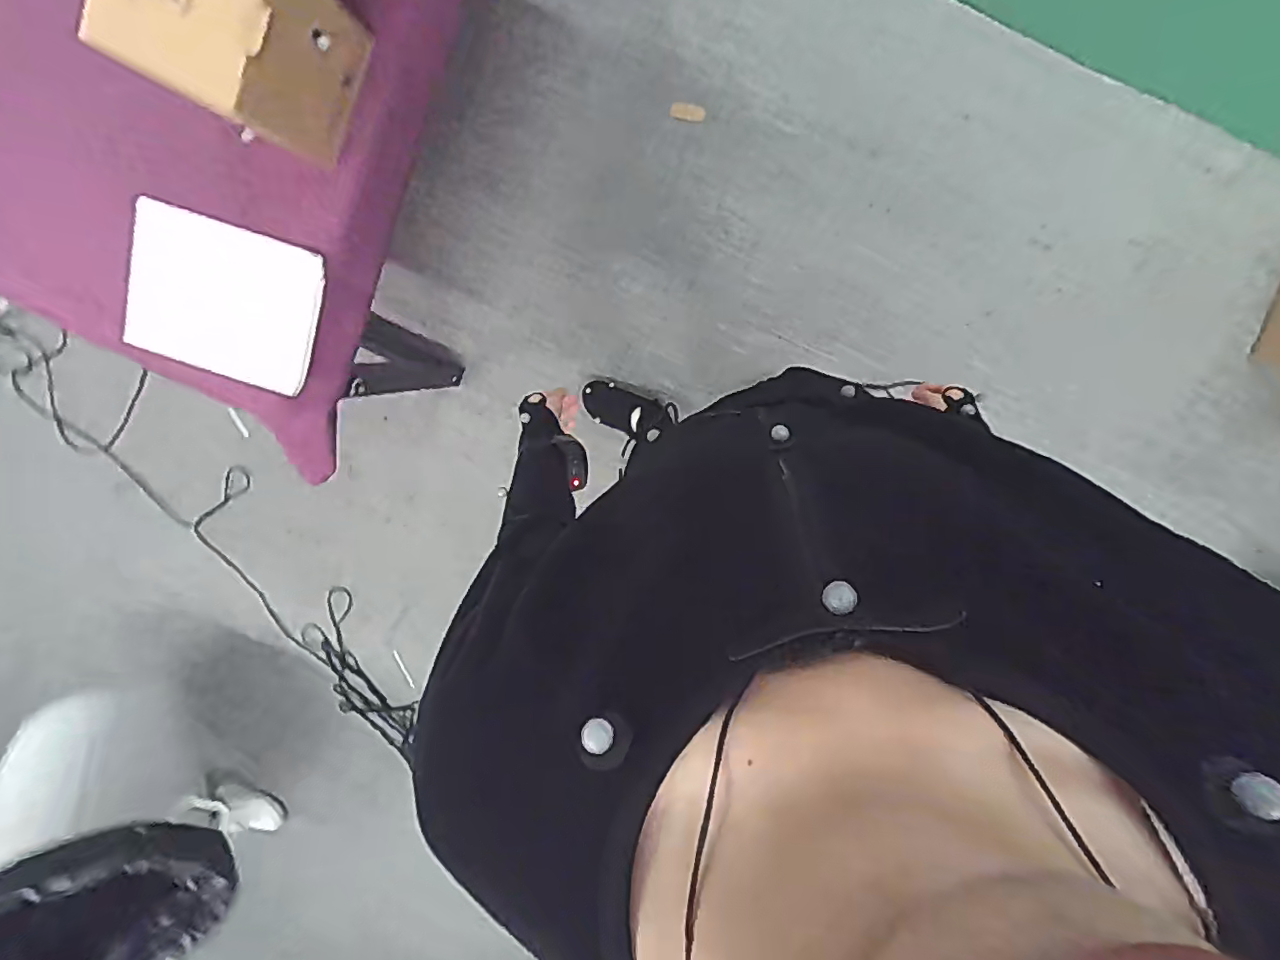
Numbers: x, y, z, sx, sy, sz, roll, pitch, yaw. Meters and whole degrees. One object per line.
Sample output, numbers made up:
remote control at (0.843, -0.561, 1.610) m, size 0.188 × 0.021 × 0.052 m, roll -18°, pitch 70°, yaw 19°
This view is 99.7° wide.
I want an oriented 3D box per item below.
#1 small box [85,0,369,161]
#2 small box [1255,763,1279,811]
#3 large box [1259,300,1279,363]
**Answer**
small box at (-0.451, -0.500, 0.617) m, size 0.179 × 0.176 × 0.168 m, roll 27°, pitch 102°, yaw 0°
small box at (1.529, 0.717, 1.168) m, size 0.179 × 0.176 × 0.168 m, roll 43°, pitch 101°, yaw -7°
large box at (1.706, -0.438, 1.161) m, size 0.320 × 0.320 × 0.408 m, roll 11°, pitch 101°, yaw 1°
